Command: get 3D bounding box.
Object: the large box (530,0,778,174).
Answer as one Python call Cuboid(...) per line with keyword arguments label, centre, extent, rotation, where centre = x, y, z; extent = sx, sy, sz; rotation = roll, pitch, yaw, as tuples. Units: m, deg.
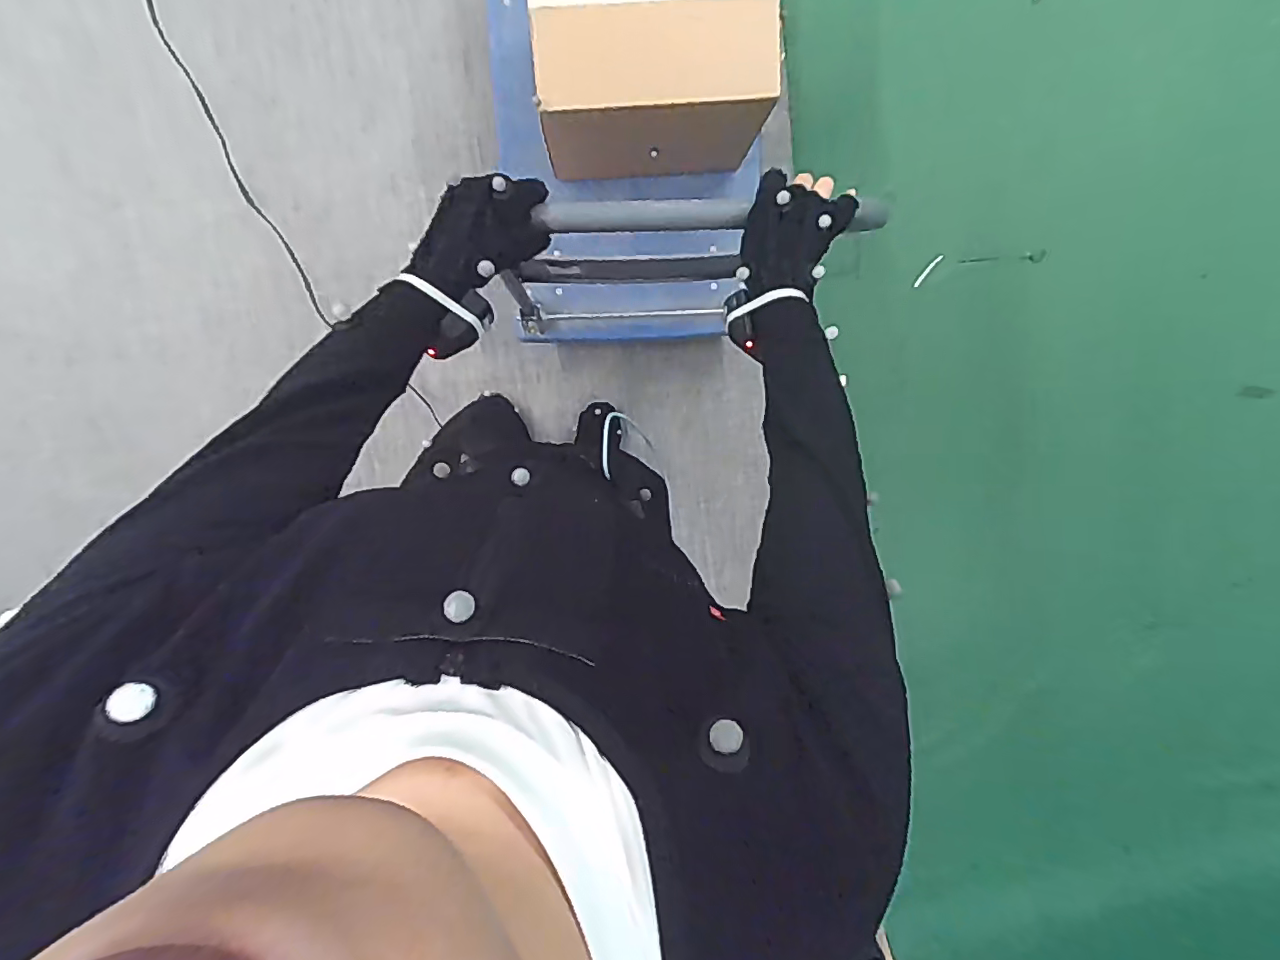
Cuboid(label="large box", centre=(0.016, -0.808, 1.021), extent=(0.408, 0.320, 0.320), rotation=(-5, 100, -2))
